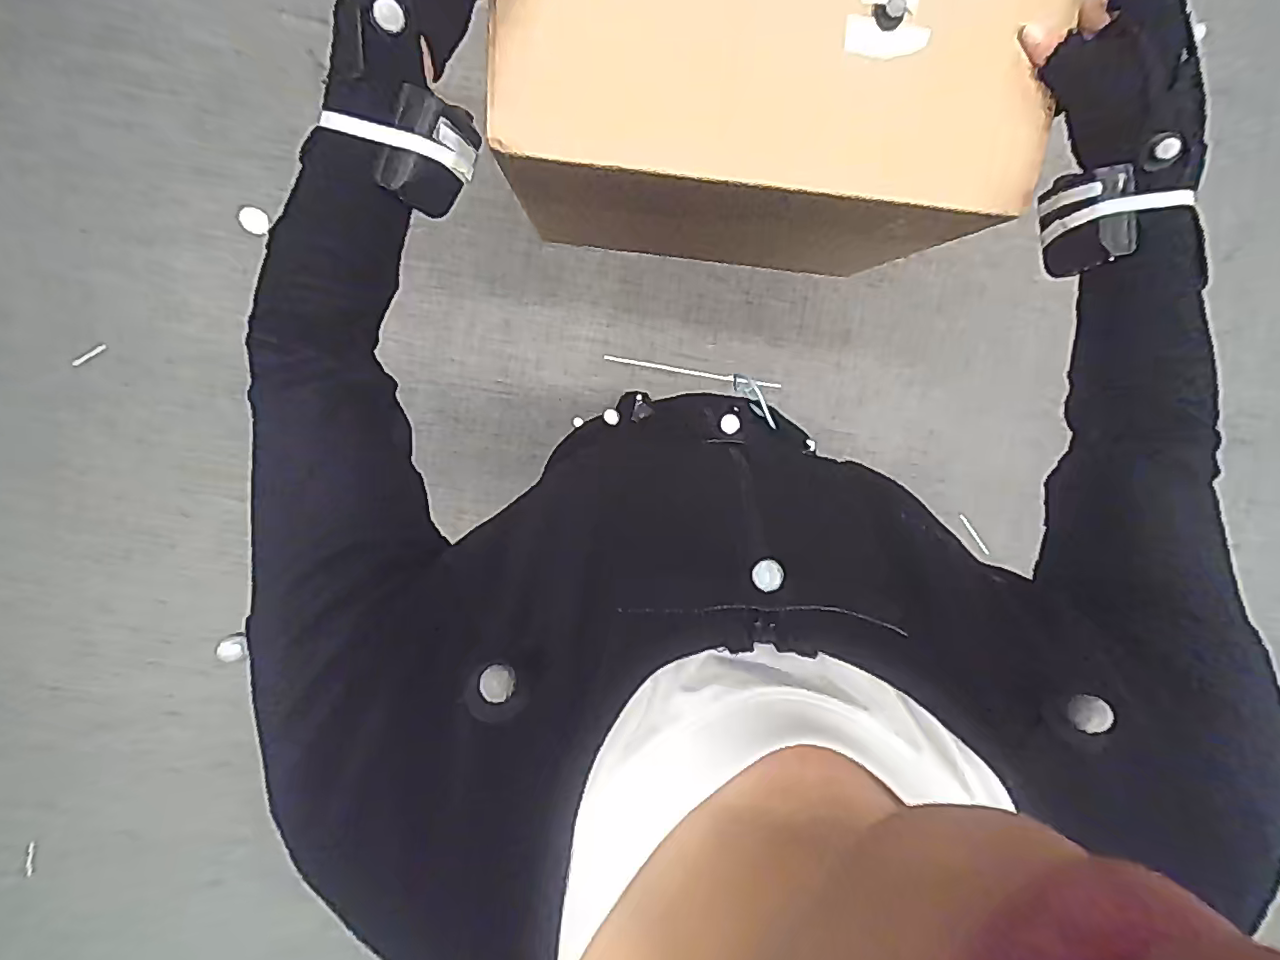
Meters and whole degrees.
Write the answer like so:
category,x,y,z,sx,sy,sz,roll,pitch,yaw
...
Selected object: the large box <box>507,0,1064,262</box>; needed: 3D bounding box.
category,x,y,z,sx,sy,sz,roll,pitch,yaw
large box,0.099,-0.411,0.515,0.408,0.320,0.320,4,103,-6
